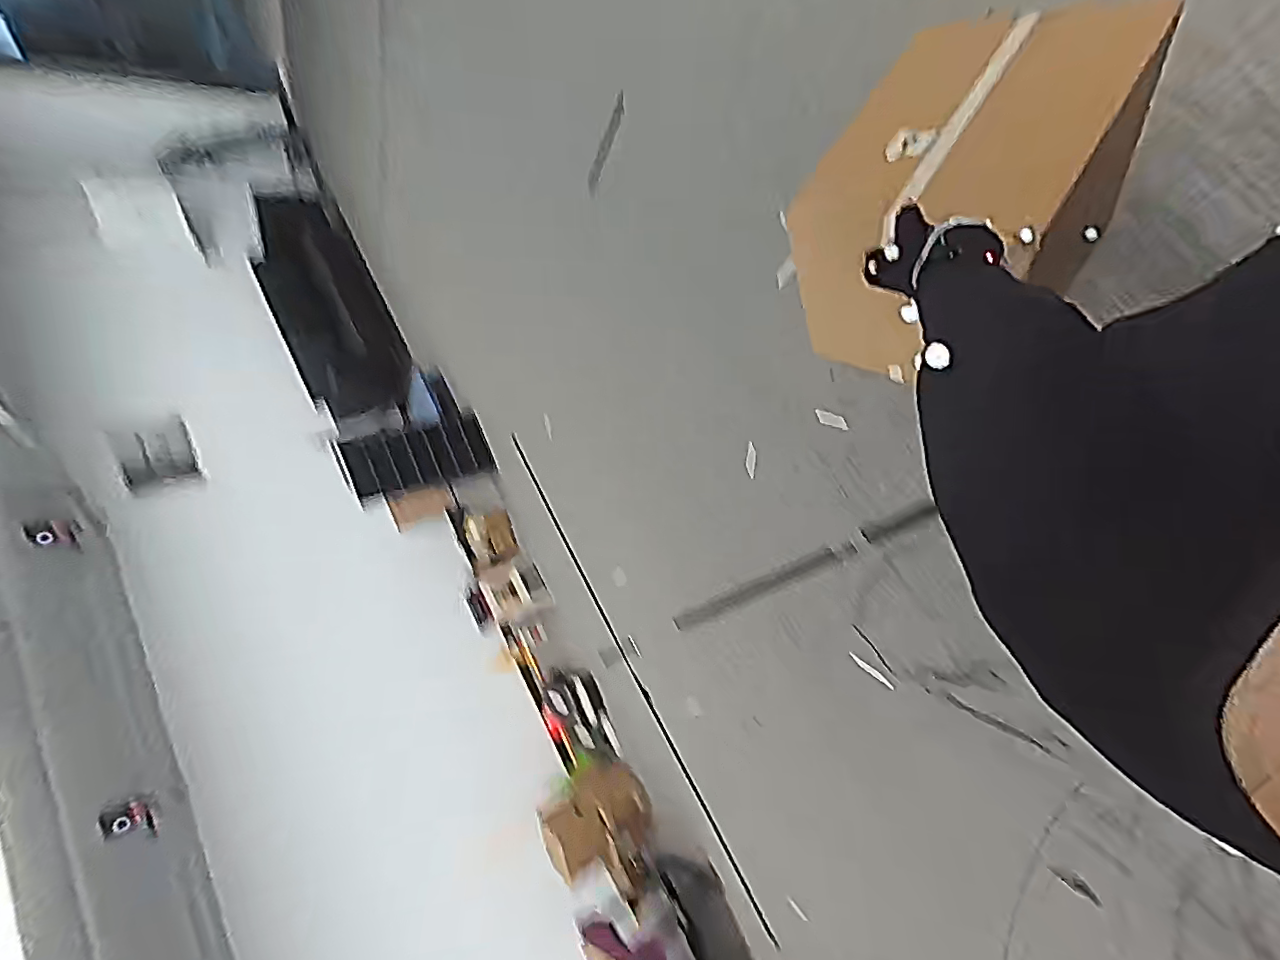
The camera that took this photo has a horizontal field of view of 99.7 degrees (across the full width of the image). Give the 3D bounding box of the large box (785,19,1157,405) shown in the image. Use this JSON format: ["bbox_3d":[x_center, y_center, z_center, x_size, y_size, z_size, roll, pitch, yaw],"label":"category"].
[{"bbox_3d":[0.482,-0.393,0.832,0.320,0.408,0.320,27,167,37],"label":"large box"}]
